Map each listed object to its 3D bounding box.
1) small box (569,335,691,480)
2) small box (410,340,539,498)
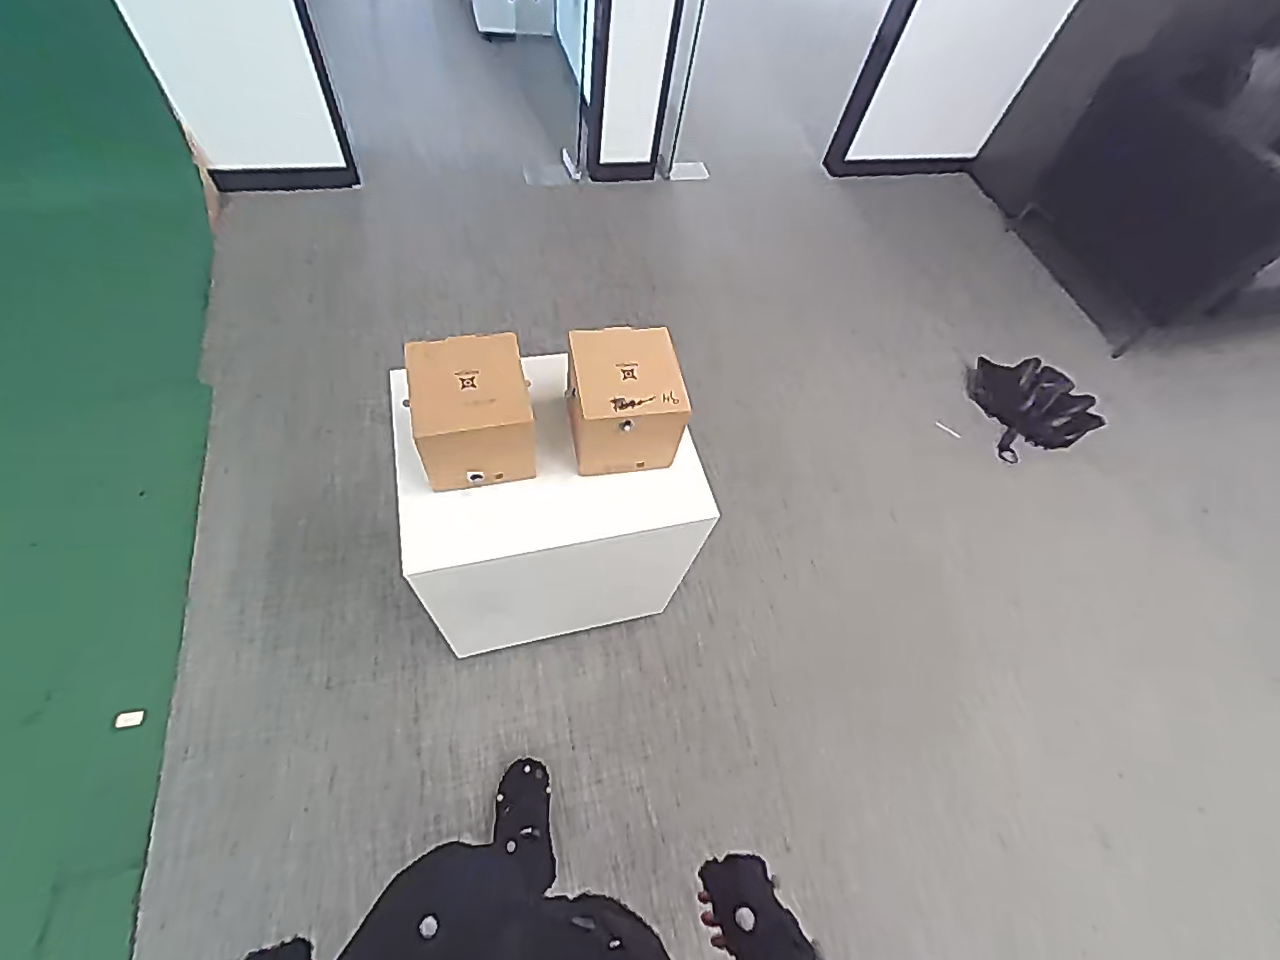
[{"bbox_3d":[-0.027,-0.121,0.911,0.168,0.176,0.179,-6,60,-12],"label":"small box"},{"bbox_3d":[-0.258,-0.095,0.863,0.168,0.176,0.179,-11,63,-14],"label":"small box"}]
